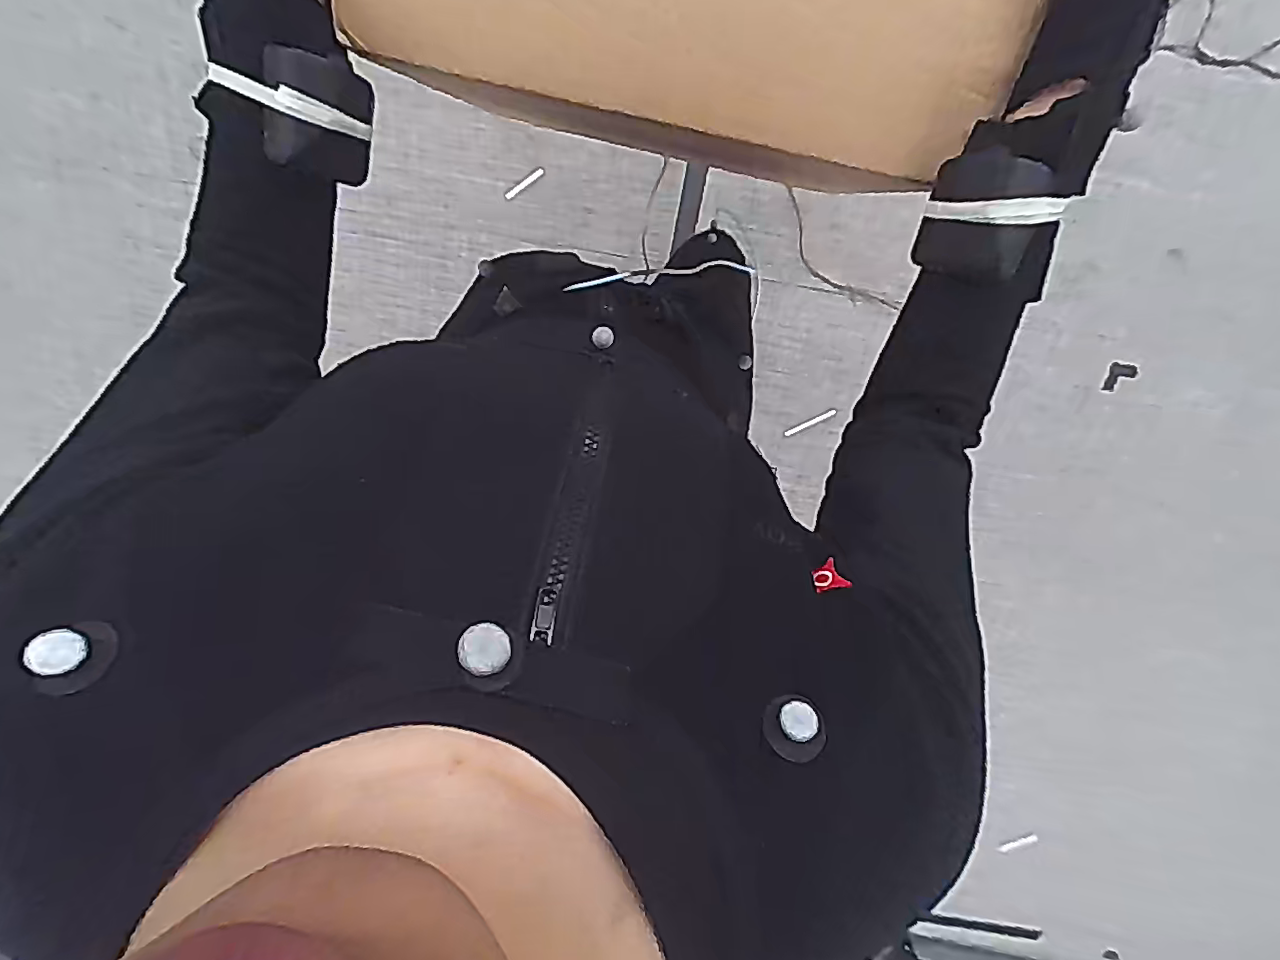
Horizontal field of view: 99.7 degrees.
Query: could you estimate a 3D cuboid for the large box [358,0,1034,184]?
[{"bbox_3d":[0.050,-0.435,0.408,0.408,0.320,0.320,10,119,-4],"label":"large box"}]
